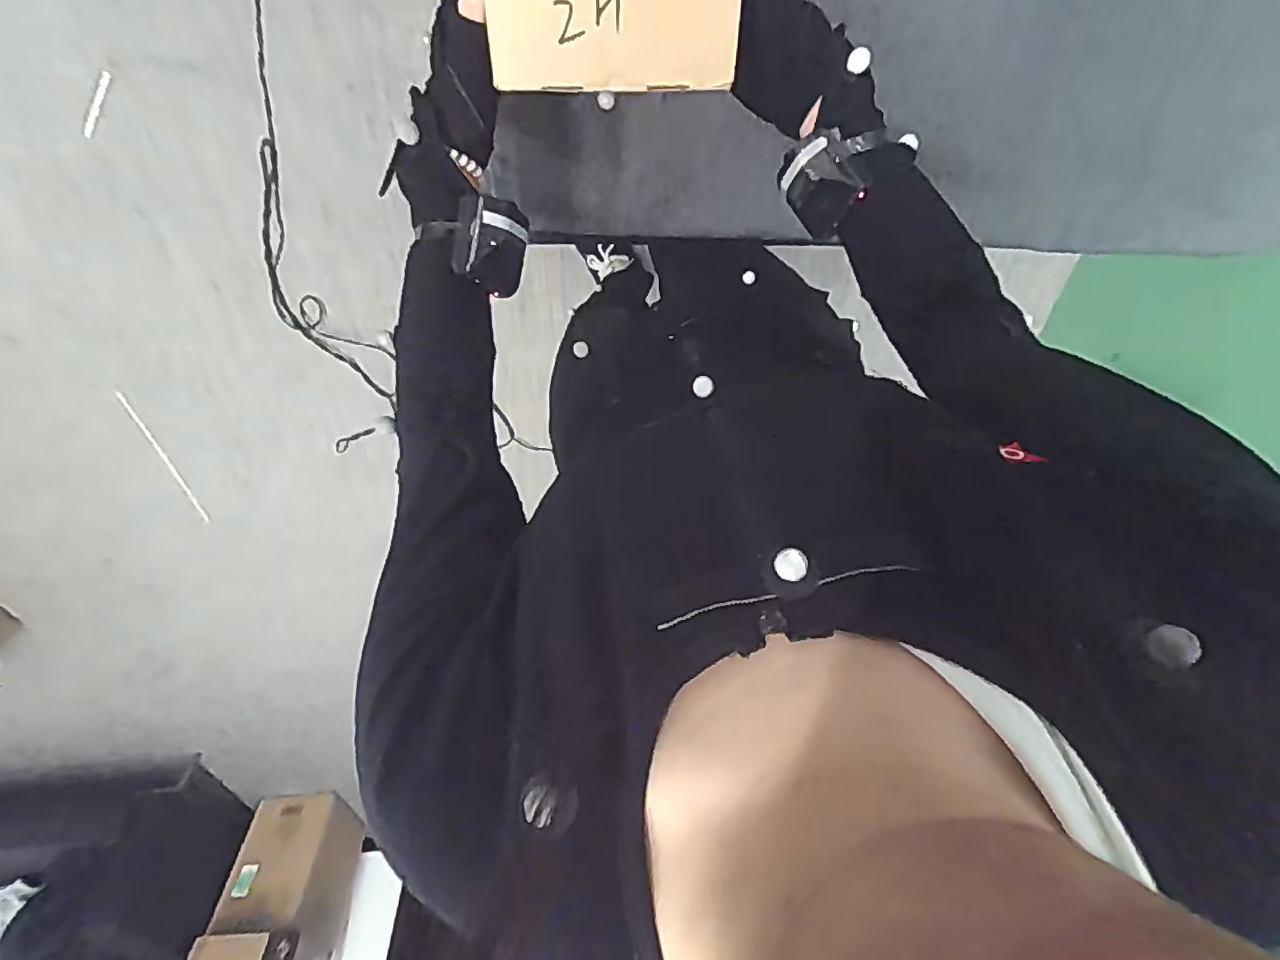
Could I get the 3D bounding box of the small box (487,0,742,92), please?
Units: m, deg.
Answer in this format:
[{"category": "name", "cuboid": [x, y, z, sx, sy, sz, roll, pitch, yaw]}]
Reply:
[{"category": "small box", "cuboid": [-0.023, -0.386, 0.383, 0.168, 0.176, 0.179, -3, 128, -5]}]
